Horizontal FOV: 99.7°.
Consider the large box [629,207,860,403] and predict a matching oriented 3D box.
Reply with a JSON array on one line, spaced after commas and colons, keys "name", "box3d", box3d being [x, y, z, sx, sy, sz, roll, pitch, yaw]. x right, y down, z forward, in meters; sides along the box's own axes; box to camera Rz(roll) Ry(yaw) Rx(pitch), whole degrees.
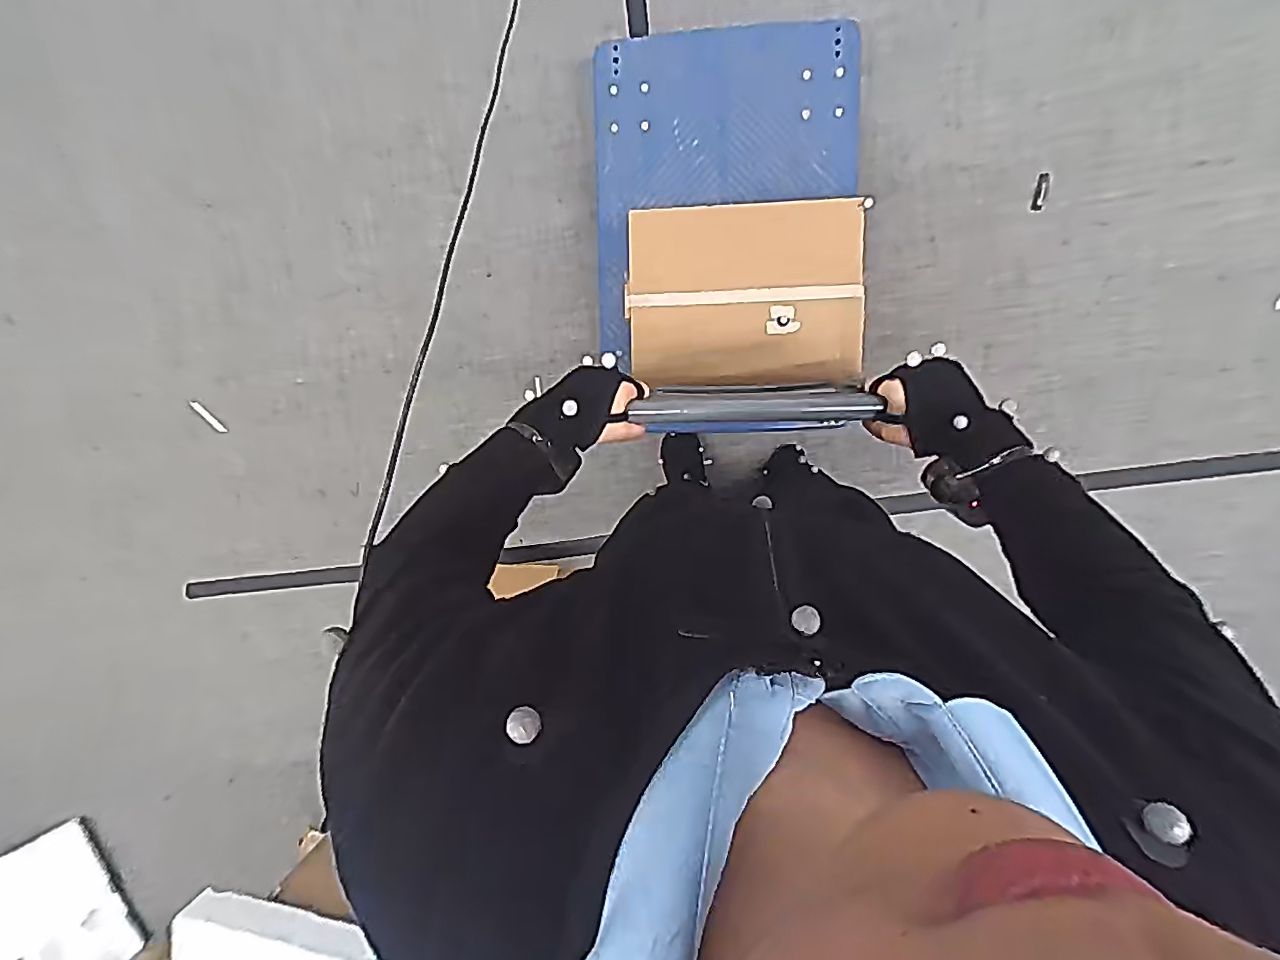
[{"name": "large box", "box3d": [0.192, -0.325, 1.100, 0.408, 0.320, 0.320, 0, 97, 5]}]
